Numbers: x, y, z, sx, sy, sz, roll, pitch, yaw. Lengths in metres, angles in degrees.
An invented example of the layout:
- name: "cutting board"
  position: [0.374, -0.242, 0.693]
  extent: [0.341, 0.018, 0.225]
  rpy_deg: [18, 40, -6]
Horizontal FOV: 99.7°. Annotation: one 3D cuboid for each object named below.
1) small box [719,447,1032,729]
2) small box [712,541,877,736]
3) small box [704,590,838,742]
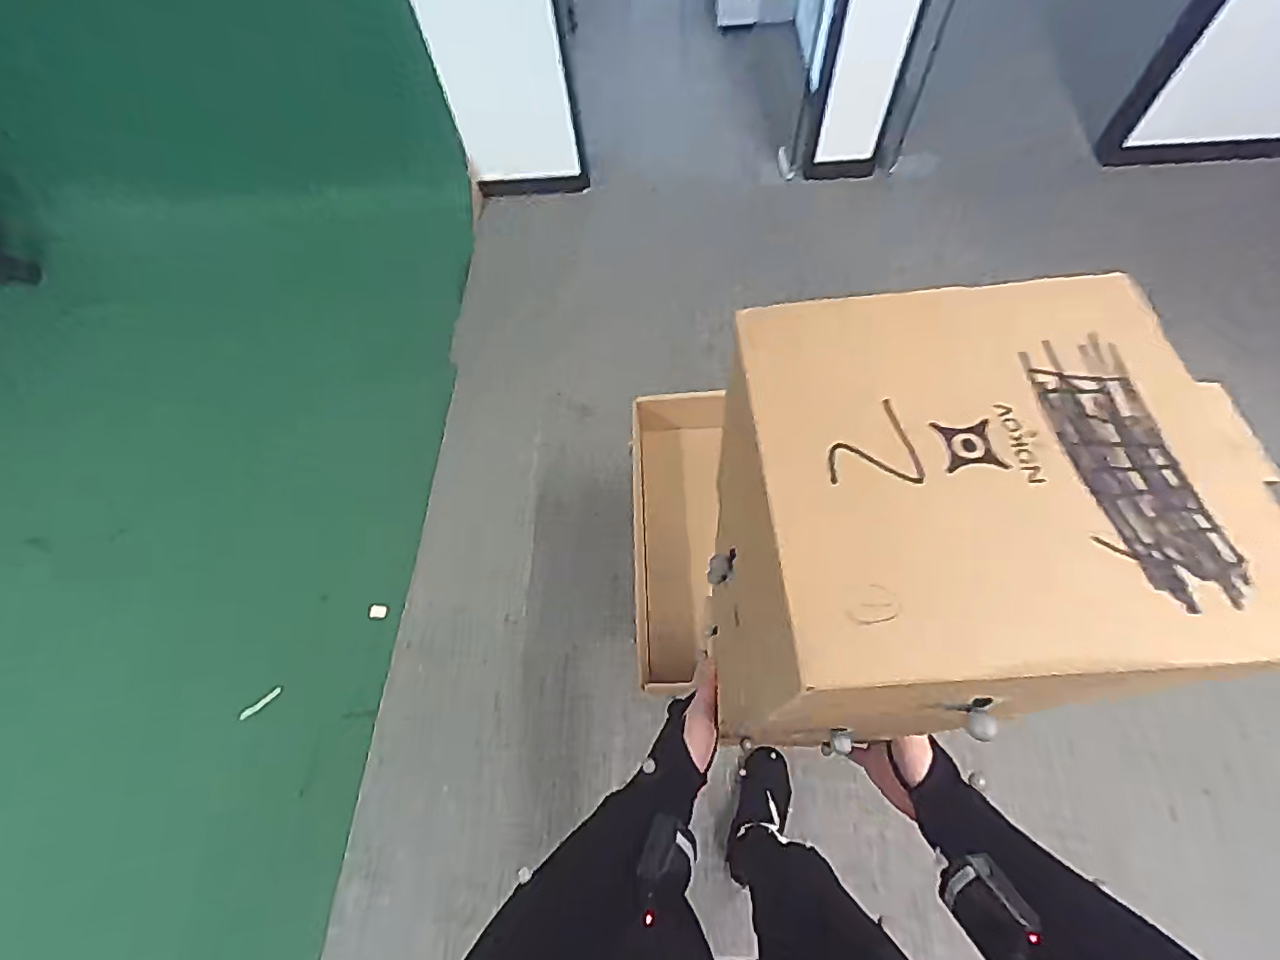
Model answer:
- name: "small box"
  position: [0.151, 0.091, 0.424]
  extent: [0.168, 0.176, 0.179]
  rpy_deg: [-1, 62, 5]
- name: "small box"
  position: [0.164, 0.167, 0.569]
  extent: [0.168, 0.176, 0.179]
  rpy_deg: [1, 61, 5]
- name: "small box"
  position: [0.174, 0.249, 0.712]
  extent: [0.179, 0.176, 0.168]
  rpy_deg: [-1, 61, 4]
